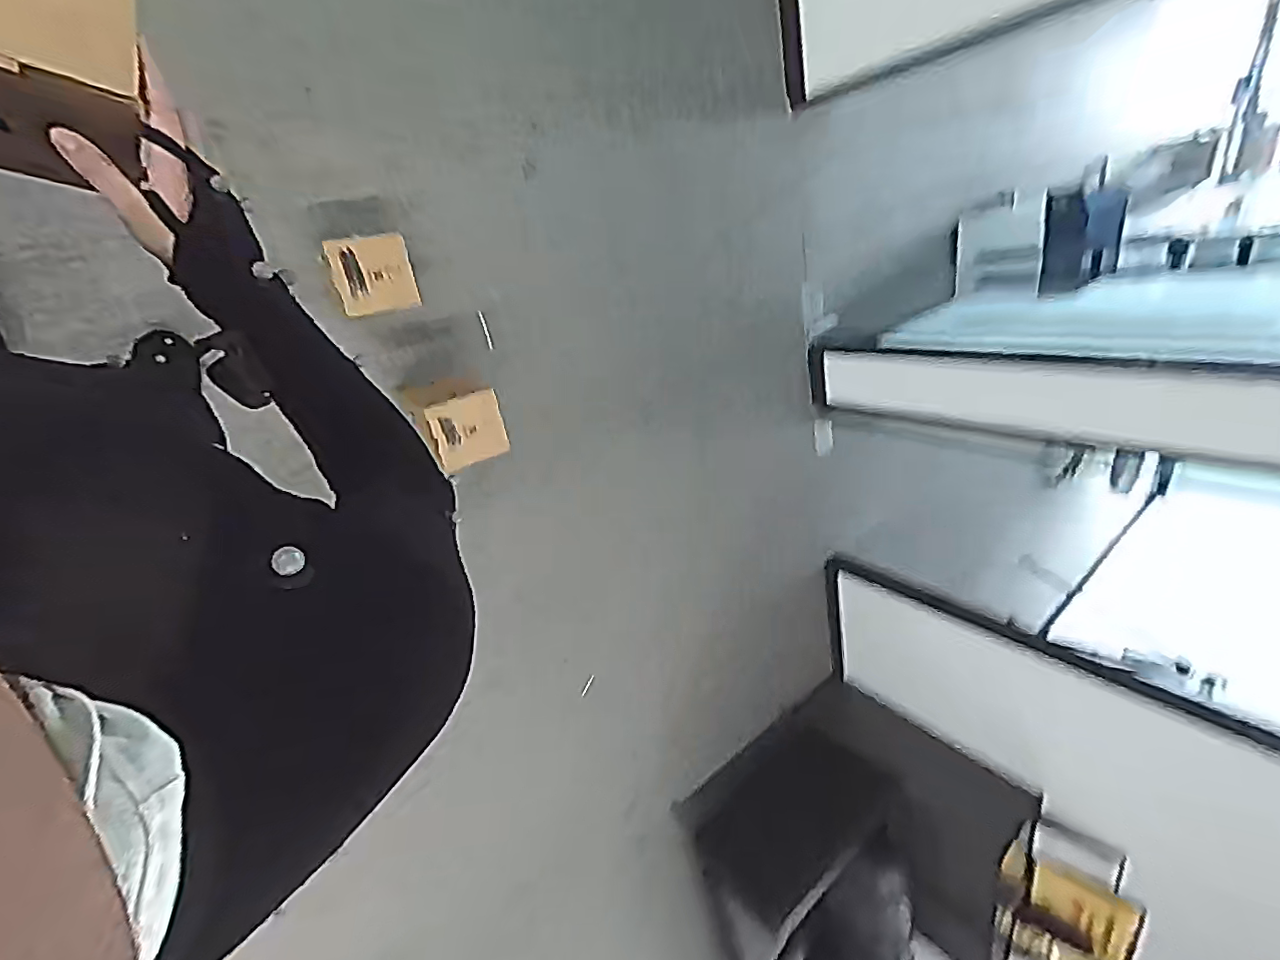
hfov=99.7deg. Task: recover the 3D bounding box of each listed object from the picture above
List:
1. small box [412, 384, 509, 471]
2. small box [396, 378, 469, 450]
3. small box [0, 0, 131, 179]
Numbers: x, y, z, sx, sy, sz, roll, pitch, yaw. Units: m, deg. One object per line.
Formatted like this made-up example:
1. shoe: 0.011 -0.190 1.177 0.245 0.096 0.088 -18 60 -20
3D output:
1. small box: -0.464 -0.140 1.378 0.179 0.176 0.168 -24 117 -30
2. small box: -0.557 -0.181 1.507 0.168 0.176 0.179 -25 118 -28
3. small box: -0.495 -0.361 0.398 0.168 0.176 0.179 -4 90 -42
